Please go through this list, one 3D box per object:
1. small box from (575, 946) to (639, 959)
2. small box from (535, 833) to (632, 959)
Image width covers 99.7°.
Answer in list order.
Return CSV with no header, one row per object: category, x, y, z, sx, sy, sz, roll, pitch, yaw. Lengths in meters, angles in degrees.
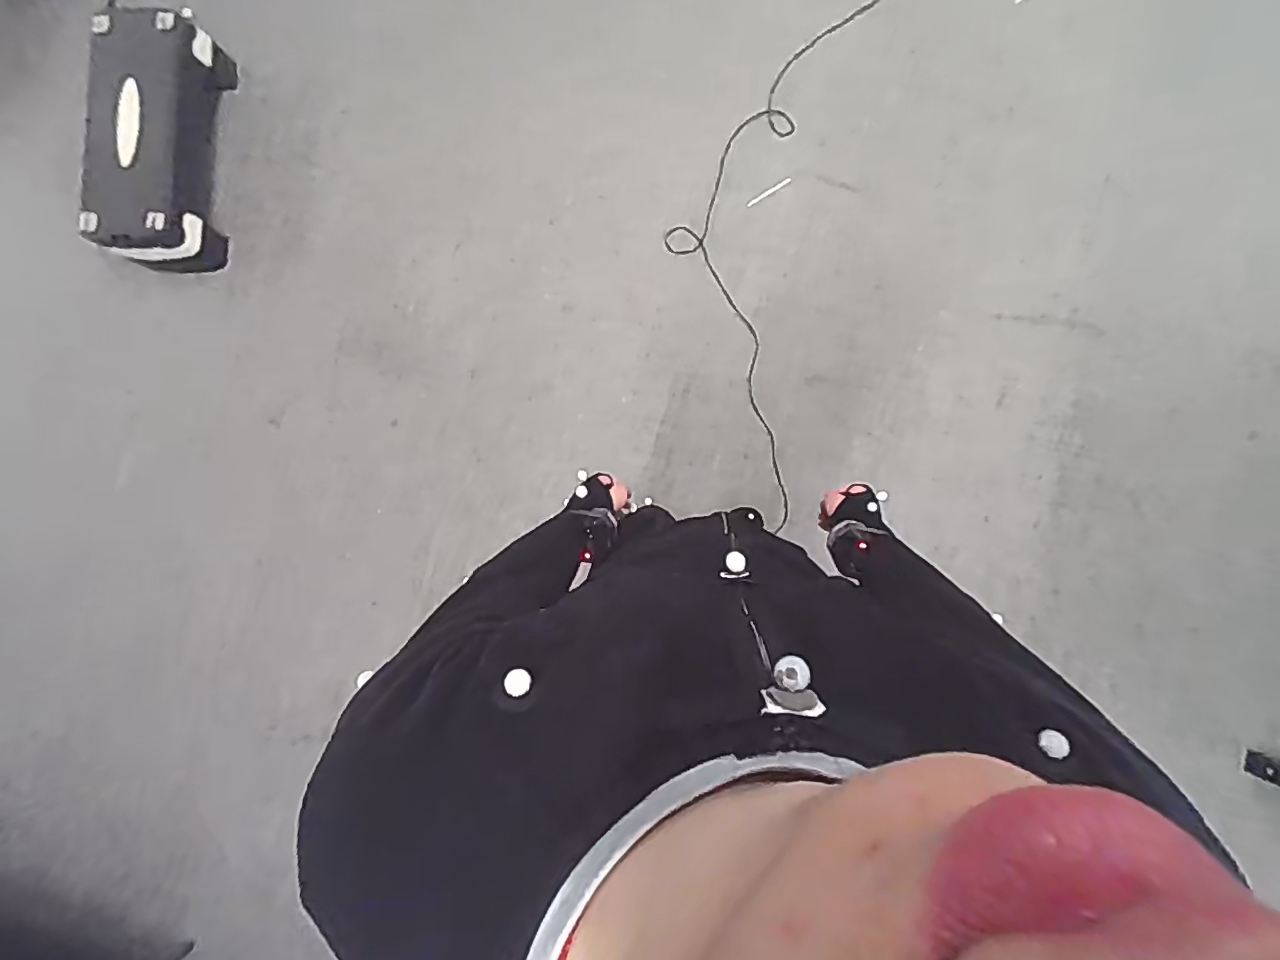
small box,-0.066,1.036,1.015,0.179,0.176,0.168,12,92,3
small box,-0.115,0.914,1.185,0.179,0.176,0.168,7,90,5
